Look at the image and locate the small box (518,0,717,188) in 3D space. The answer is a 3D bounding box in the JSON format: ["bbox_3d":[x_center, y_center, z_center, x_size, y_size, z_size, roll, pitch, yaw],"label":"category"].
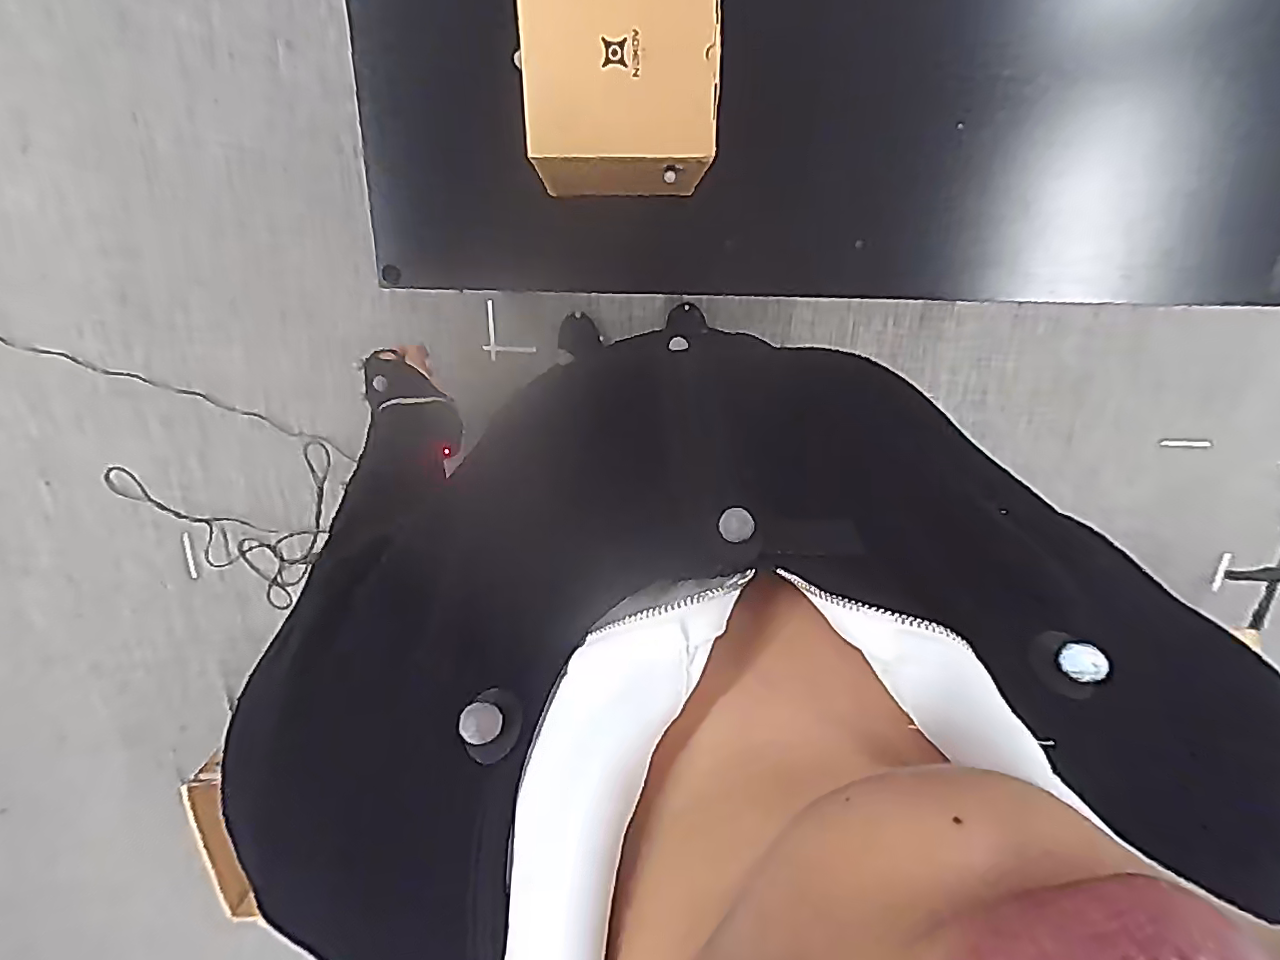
[{"bbox_3d":[-0.022,-0.408,0.557,0.179,0.176,0.168,-2,108,-3],"label":"small box"}]
